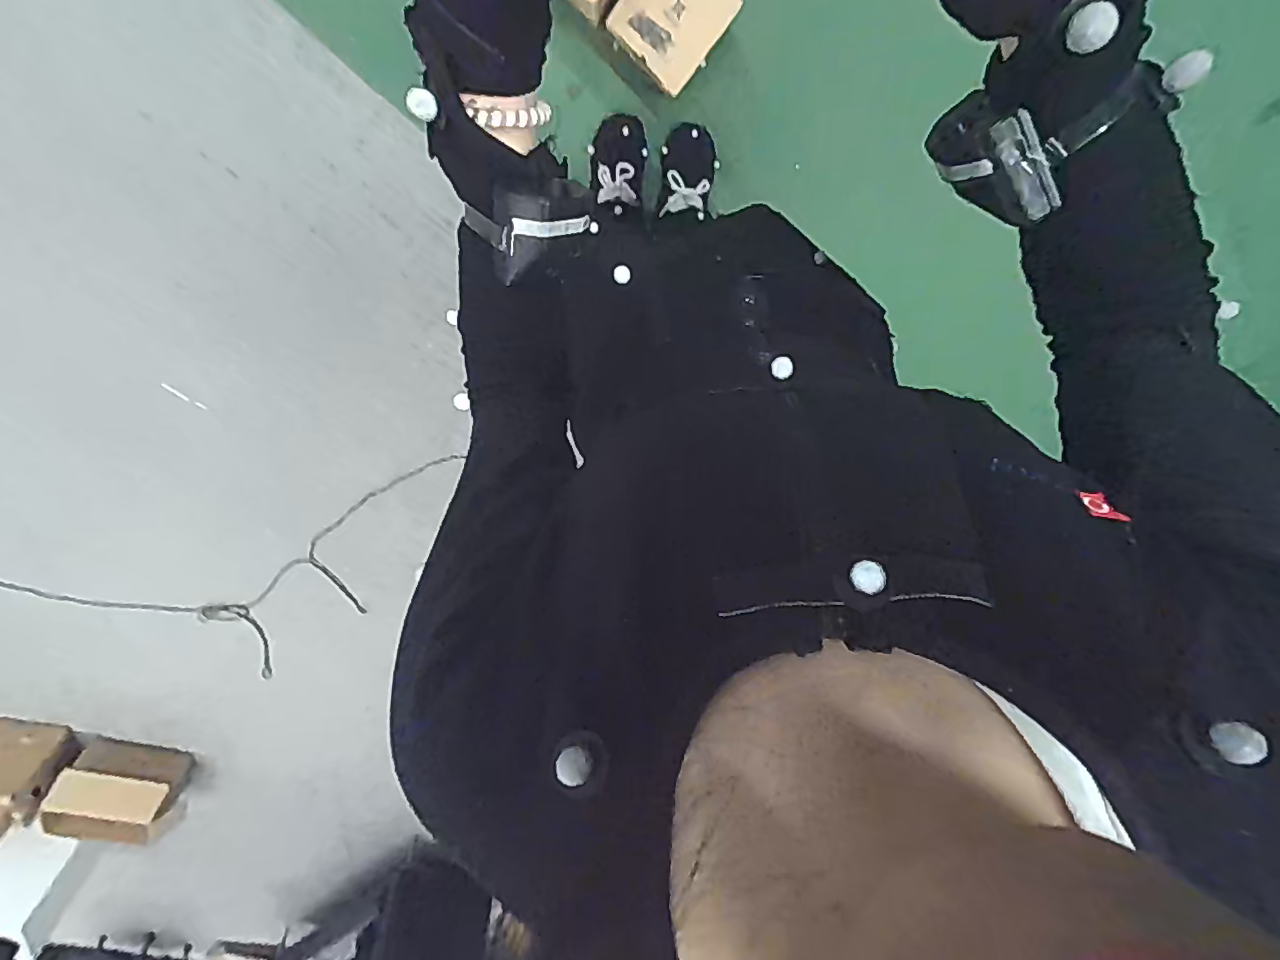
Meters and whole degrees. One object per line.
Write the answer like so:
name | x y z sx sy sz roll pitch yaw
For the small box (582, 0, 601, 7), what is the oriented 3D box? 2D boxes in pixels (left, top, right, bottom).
small box | -0.081 -0.838 0.780 0.168 0.176 0.179 31 120 -24
